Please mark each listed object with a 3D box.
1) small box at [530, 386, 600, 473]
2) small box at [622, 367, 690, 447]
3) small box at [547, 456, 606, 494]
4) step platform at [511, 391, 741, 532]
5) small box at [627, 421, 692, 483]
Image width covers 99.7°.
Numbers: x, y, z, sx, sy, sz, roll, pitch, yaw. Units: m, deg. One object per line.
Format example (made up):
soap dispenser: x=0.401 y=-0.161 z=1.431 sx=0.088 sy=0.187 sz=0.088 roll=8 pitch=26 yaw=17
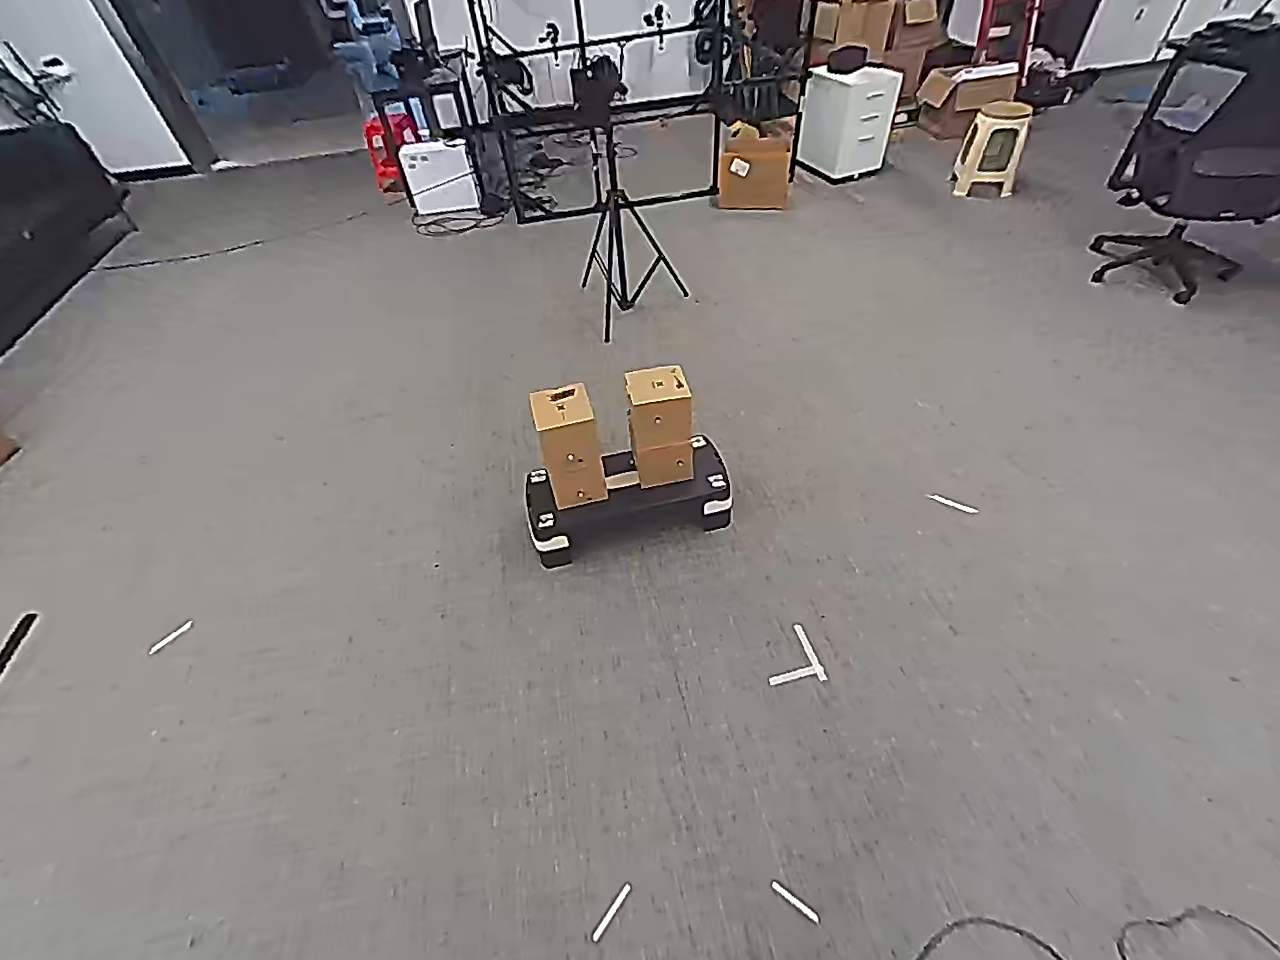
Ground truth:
small box: x=-0.223 y=-0.148 z=1.606 sx=0.168 sy=0.176 sz=0.179 roll=-14 pitch=48 yaw=-8
small box: x=0.051 y=-0.218 z=1.649 sx=0.179 sy=0.176 sz=0.168 roll=-11 pitch=47 yaw=-3
small box: x=-0.208 y=-0.033 z=1.722 sx=0.168 sy=0.176 sz=0.179 roll=-13 pitch=47 yaw=-6
step platform: x=-0.040 y=-0.059 z=1.683 sx=0.684 sy=0.204 sz=0.286 roll=-13 pitch=47 yaw=-7
small box: x=0.064 y=-0.093 z=1.754 sx=0.179 sy=0.176 sz=0.168 roll=-12 pitch=46 yaw=-6
